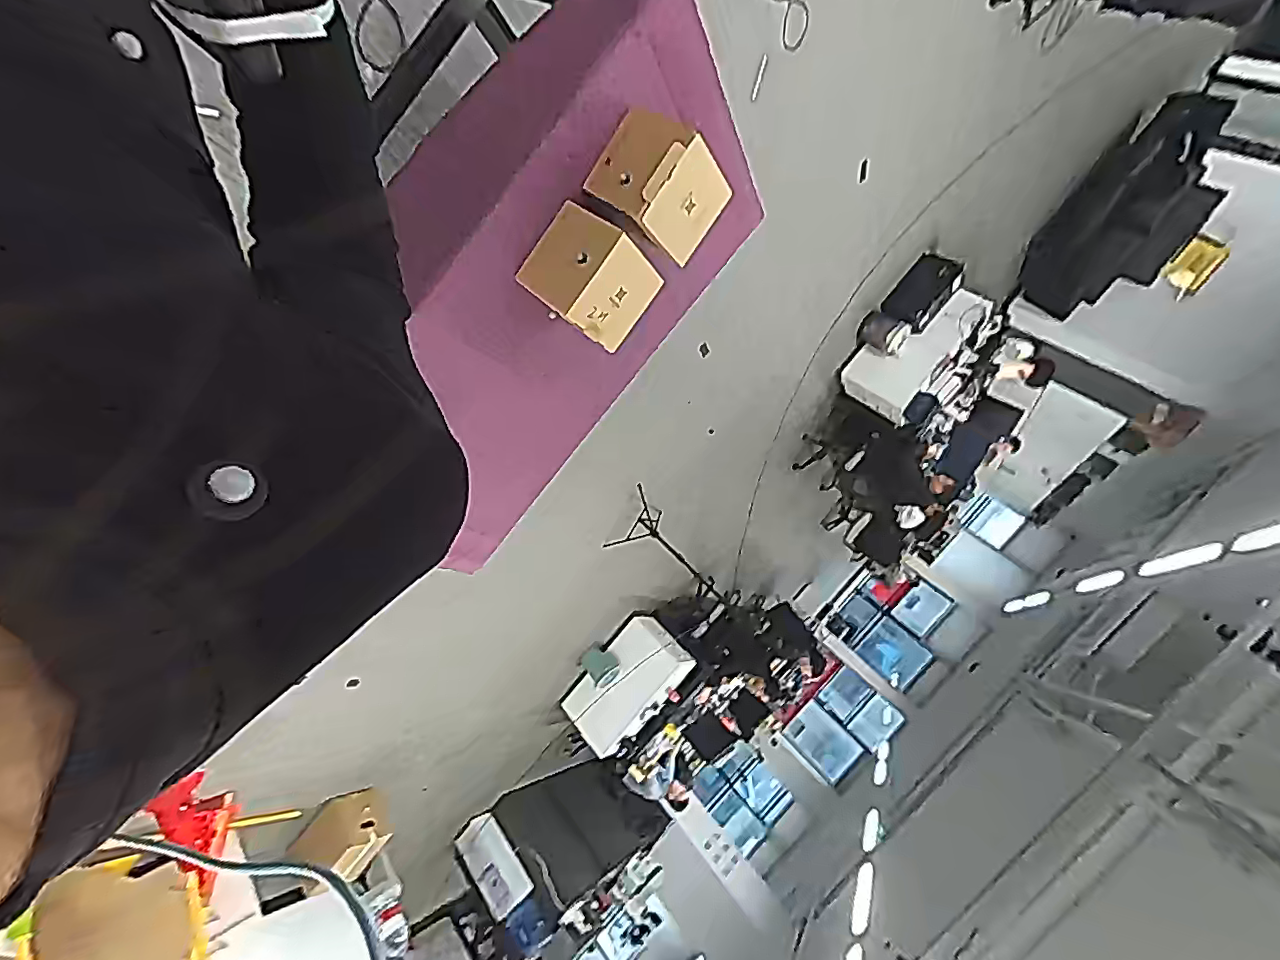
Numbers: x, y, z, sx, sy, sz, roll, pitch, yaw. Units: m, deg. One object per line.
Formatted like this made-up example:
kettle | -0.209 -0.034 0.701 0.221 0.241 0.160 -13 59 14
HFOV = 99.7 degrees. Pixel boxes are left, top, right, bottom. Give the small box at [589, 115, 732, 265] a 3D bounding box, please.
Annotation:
small box | 0.036 -0.543 1.012 0.168 0.176 0.179 -53 151 11

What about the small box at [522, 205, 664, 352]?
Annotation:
small box | -0.091 -0.384 1.030 0.179 0.176 0.168 -52 151 8
